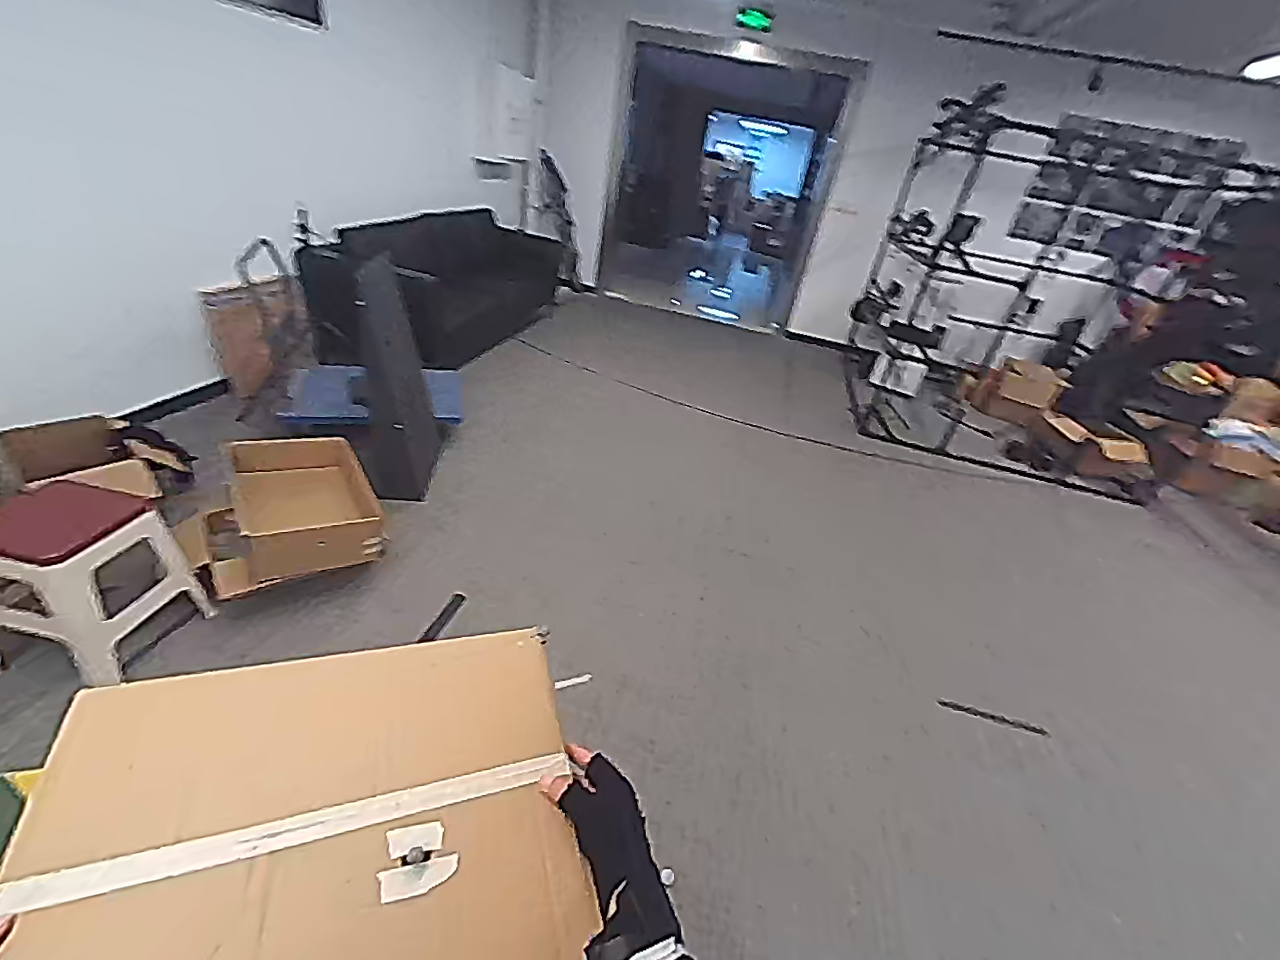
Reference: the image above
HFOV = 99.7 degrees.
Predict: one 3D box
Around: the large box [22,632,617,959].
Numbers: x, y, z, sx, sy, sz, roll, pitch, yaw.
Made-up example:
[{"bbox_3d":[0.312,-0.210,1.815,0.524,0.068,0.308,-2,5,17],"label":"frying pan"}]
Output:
[{"bbox_3d":[-0.279,0.397,0.559,0.408,0.320,0.320,-1,43,-22],"label":"large box"}]
